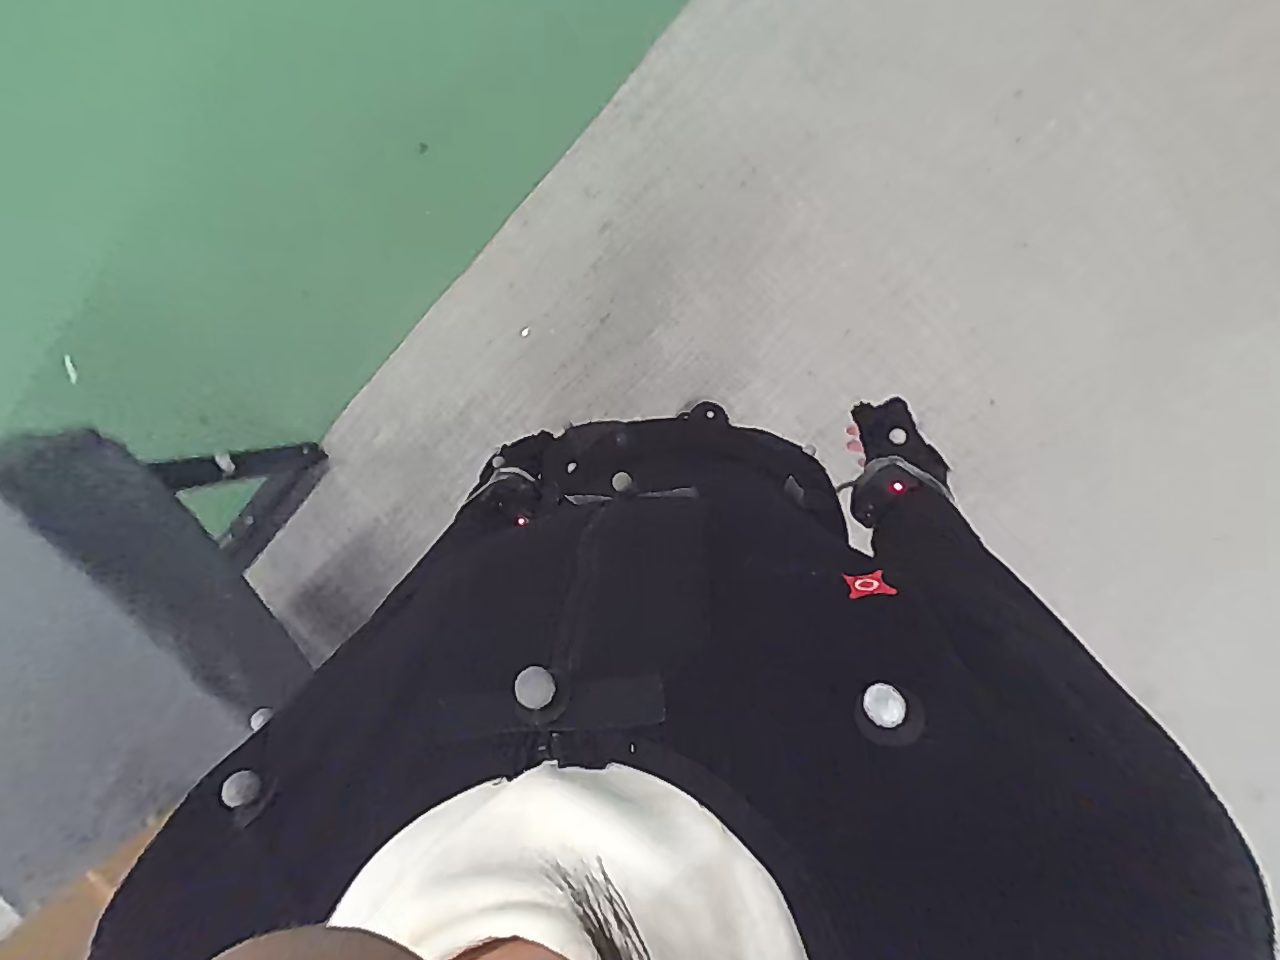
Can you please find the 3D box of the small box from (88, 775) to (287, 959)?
[{"bbox_3d":[-0.684,0.591,0.806,0.179,0.176,0.168,45,101,0],"label":"small box"}]
